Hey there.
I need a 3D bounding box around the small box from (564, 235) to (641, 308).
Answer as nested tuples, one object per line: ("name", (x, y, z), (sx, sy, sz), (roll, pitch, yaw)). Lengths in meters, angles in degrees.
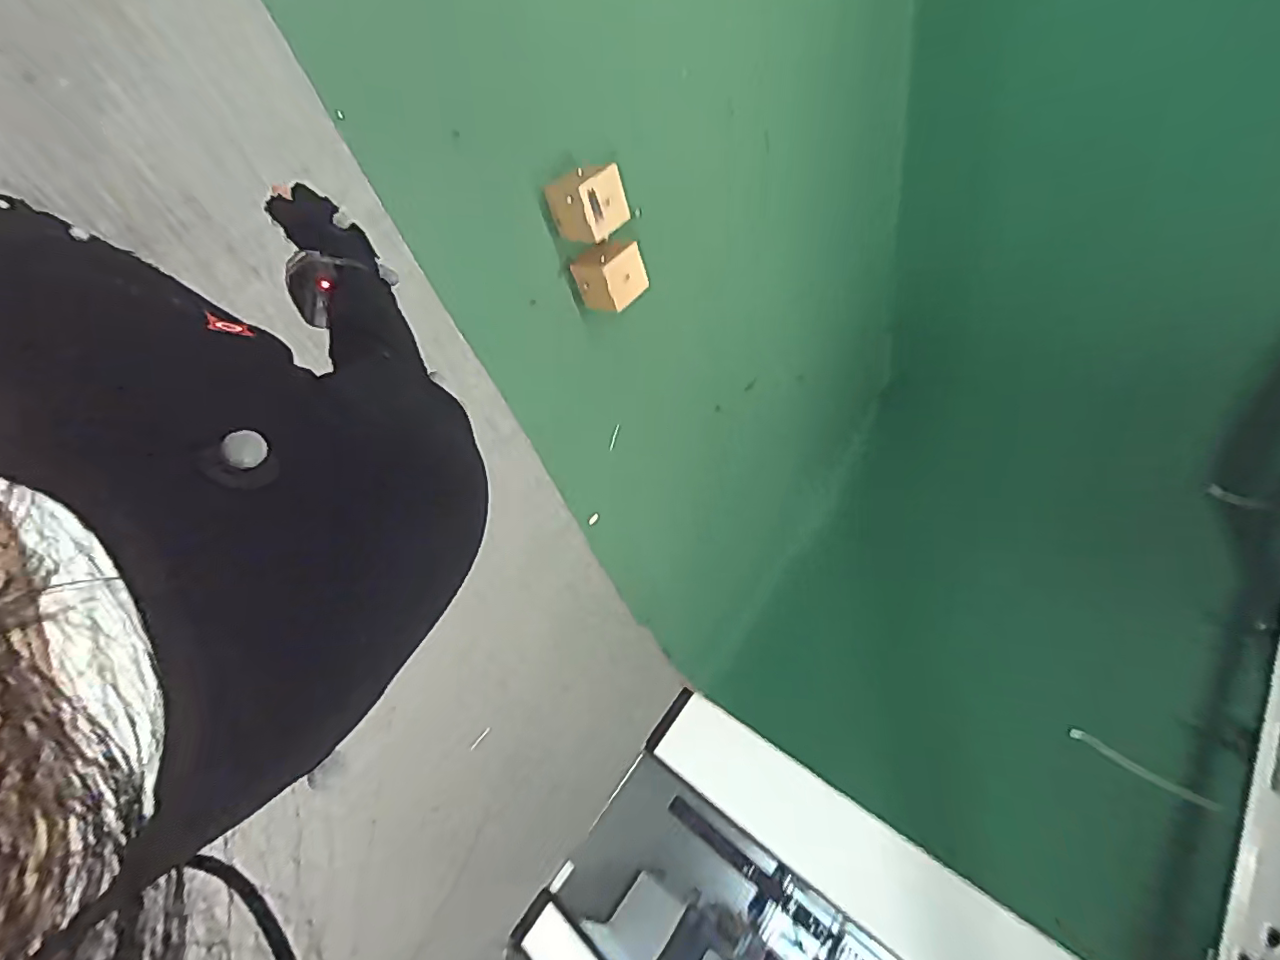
("small box", (-0.130, -0.727, 1.872), (0.179, 0.176, 0.168), (-48, 141, -22))
